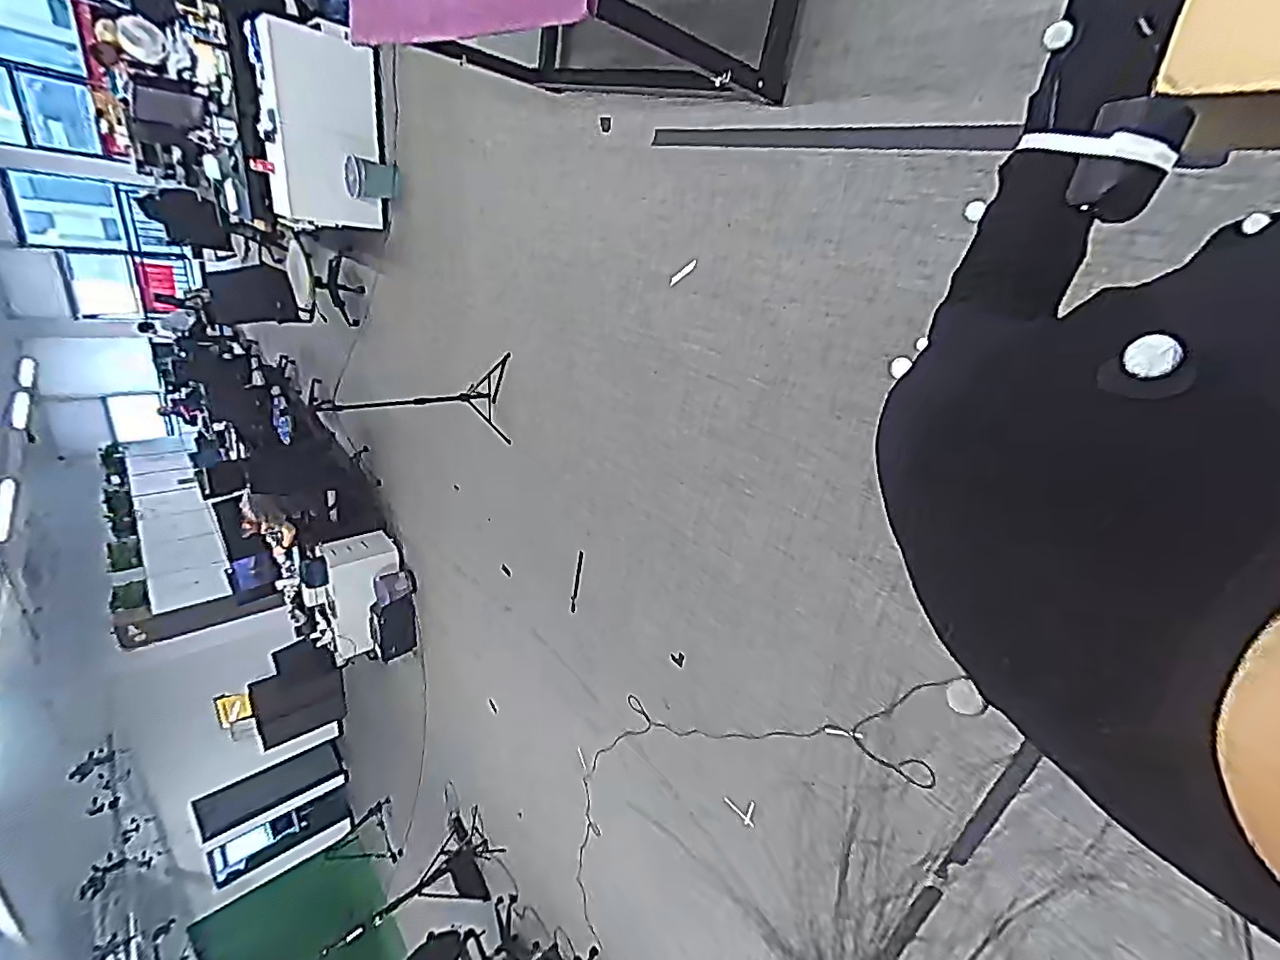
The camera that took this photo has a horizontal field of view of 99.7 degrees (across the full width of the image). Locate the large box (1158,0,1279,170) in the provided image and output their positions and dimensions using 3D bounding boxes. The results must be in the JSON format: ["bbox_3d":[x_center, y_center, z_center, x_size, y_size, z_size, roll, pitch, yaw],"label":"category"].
[{"bbox_3d":[0.587,-0.352,0.271,0.408,0.320,0.320,25,124,37],"label":"large box"}]
